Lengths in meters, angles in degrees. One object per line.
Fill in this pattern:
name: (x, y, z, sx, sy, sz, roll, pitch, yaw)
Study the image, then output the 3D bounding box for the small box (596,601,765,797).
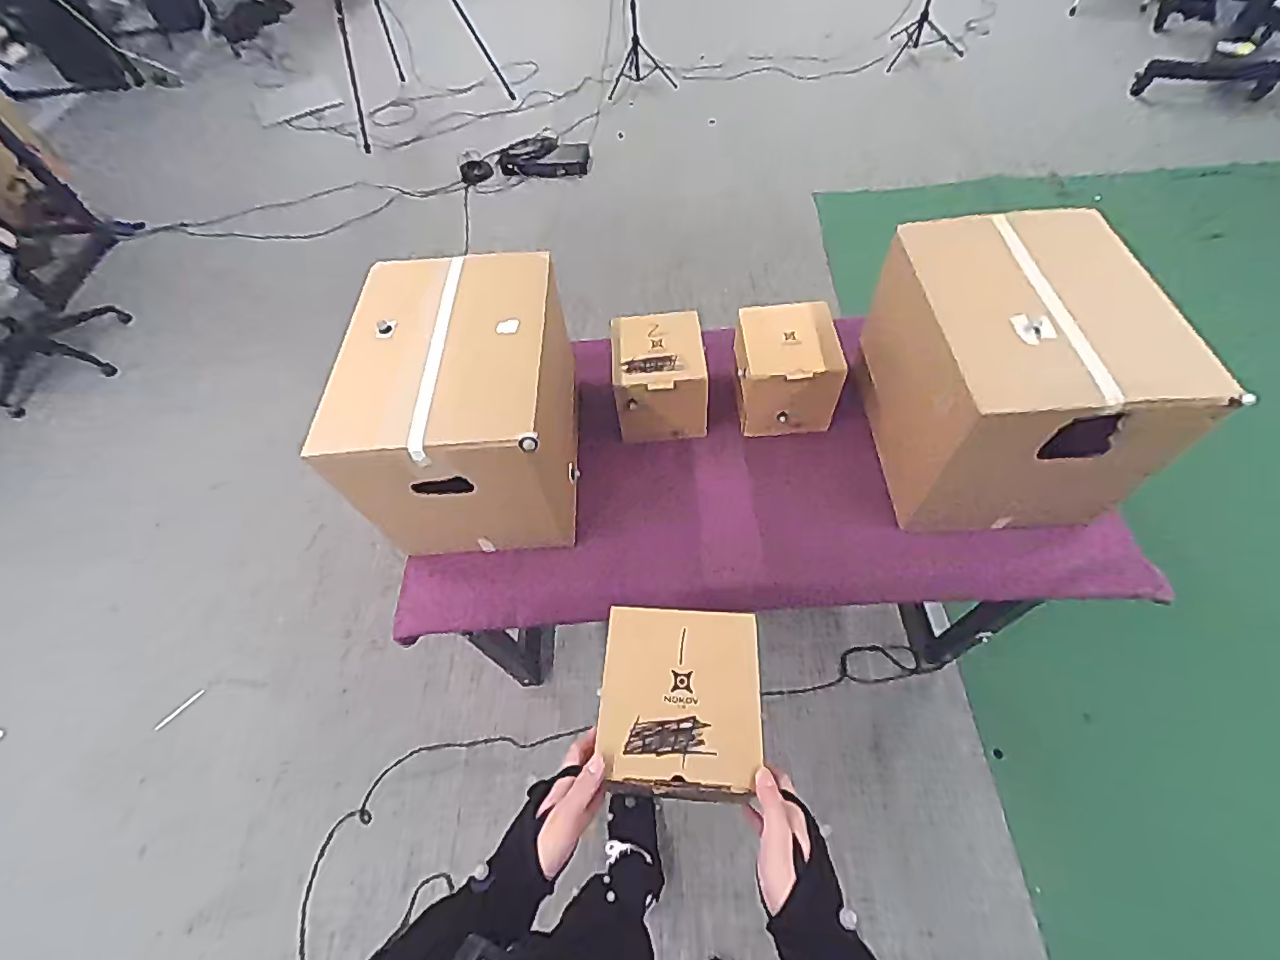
small box: (0.049, 0.258, 0.626, 0.168, 0.176, 0.179, 2, 55, 4)

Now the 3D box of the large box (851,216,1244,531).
large box: (0.581, -0.167, 0.887, 0.320, 0.320, 0.408, -4, 57, 4)
